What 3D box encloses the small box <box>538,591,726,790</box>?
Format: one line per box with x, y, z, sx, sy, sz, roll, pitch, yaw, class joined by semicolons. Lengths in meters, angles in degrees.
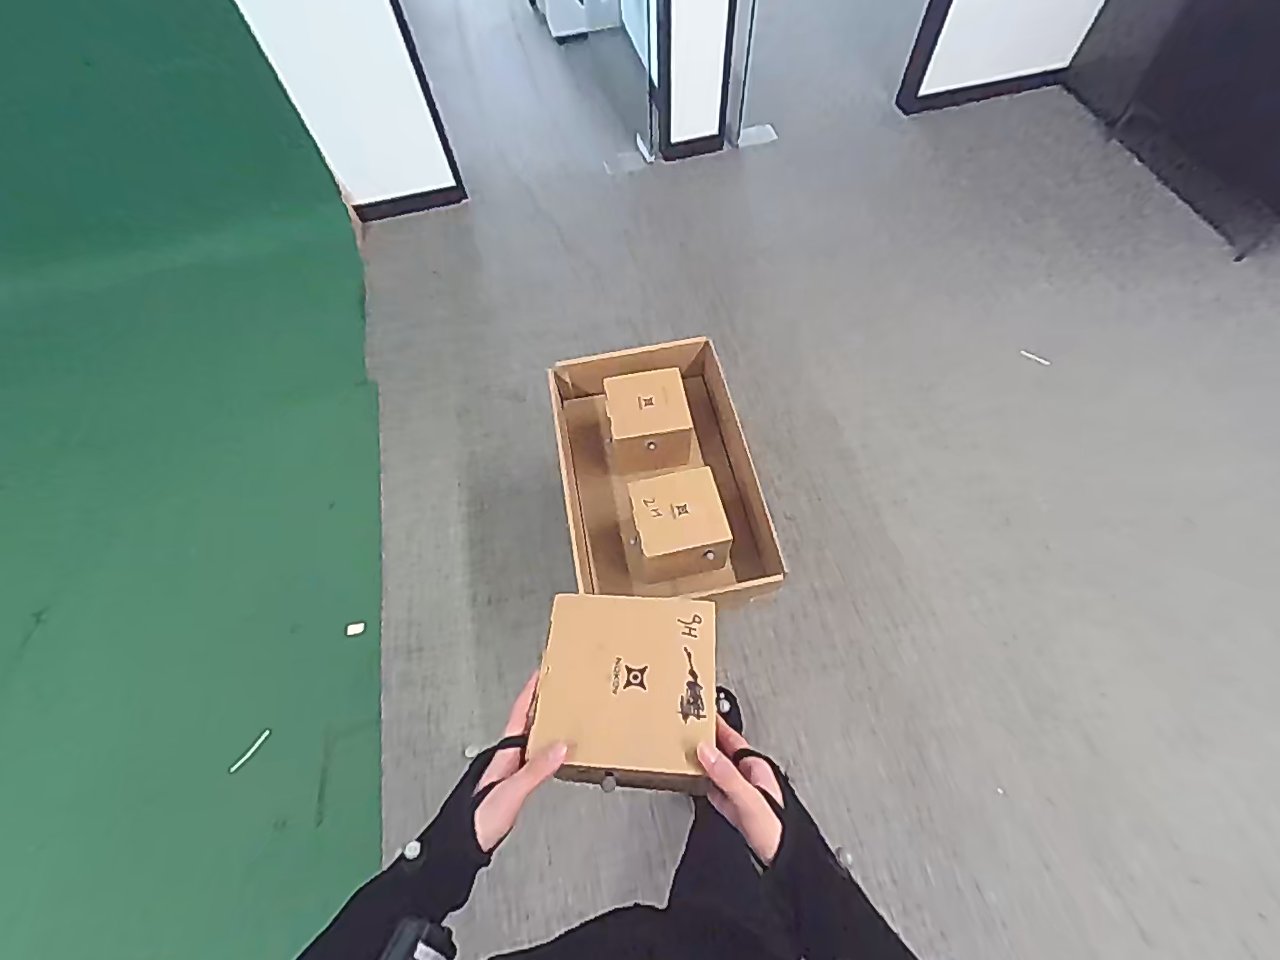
0.003;0.236;0.598;0.179;0.176;0.168;2;55;5;small box

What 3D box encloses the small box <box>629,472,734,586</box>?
0.080;0.106;1.121;0.179;0.176;0.168;-12;62;-4;small box

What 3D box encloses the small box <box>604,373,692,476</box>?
0.019;-0.122;1.248;0.179;0.176;0.168;-8;63;-3;small box
